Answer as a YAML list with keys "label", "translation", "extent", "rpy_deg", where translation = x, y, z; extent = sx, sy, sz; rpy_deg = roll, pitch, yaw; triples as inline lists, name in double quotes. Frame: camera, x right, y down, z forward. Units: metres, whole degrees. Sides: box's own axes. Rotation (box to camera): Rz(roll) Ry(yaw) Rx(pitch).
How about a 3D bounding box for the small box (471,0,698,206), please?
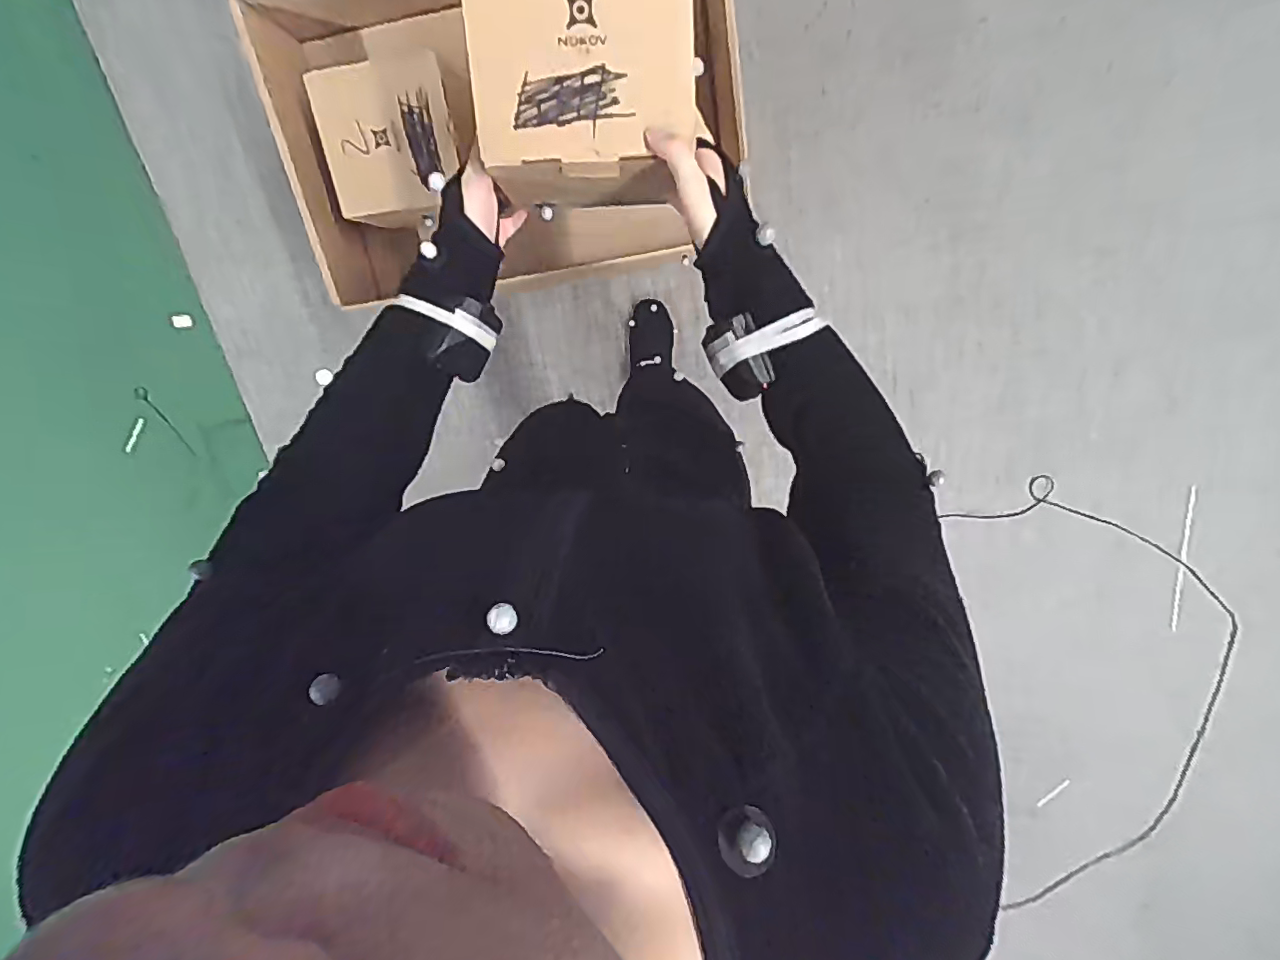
- label: "small box"
  translation: [-0.042, -0.348, 0.472]
  extent: [0.168, 0.176, 0.179]
  rpy_deg: [-4, 105, -2]
